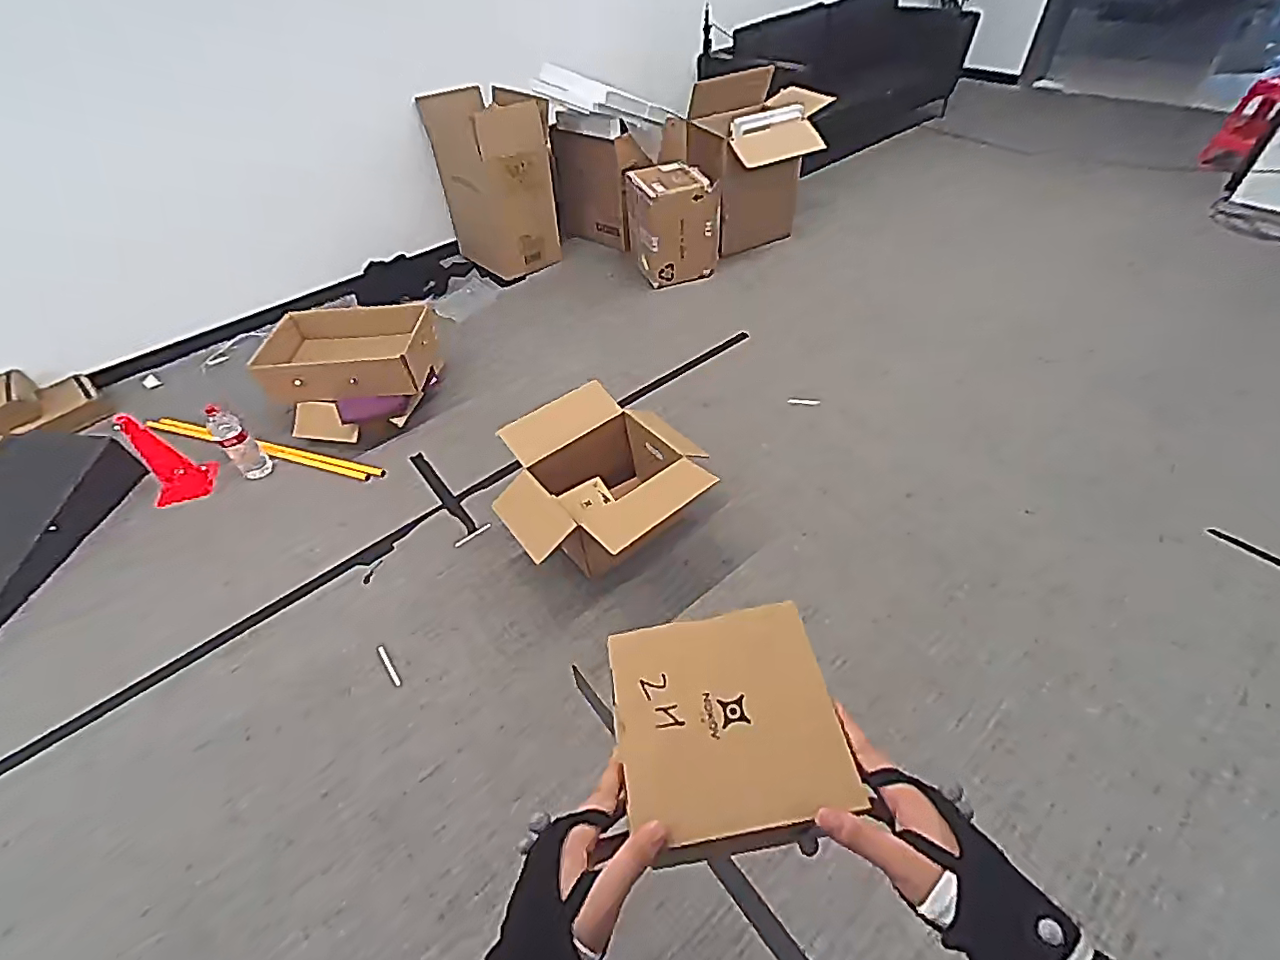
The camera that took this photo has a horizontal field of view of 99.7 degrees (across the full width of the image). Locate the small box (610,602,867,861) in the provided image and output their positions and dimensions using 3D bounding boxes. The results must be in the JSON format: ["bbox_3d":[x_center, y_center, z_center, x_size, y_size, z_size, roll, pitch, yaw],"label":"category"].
[{"bbox_3d":[0.078,0.236,0.500,0.179,0.176,0.168,-12,50,0],"label":"small box"}]
